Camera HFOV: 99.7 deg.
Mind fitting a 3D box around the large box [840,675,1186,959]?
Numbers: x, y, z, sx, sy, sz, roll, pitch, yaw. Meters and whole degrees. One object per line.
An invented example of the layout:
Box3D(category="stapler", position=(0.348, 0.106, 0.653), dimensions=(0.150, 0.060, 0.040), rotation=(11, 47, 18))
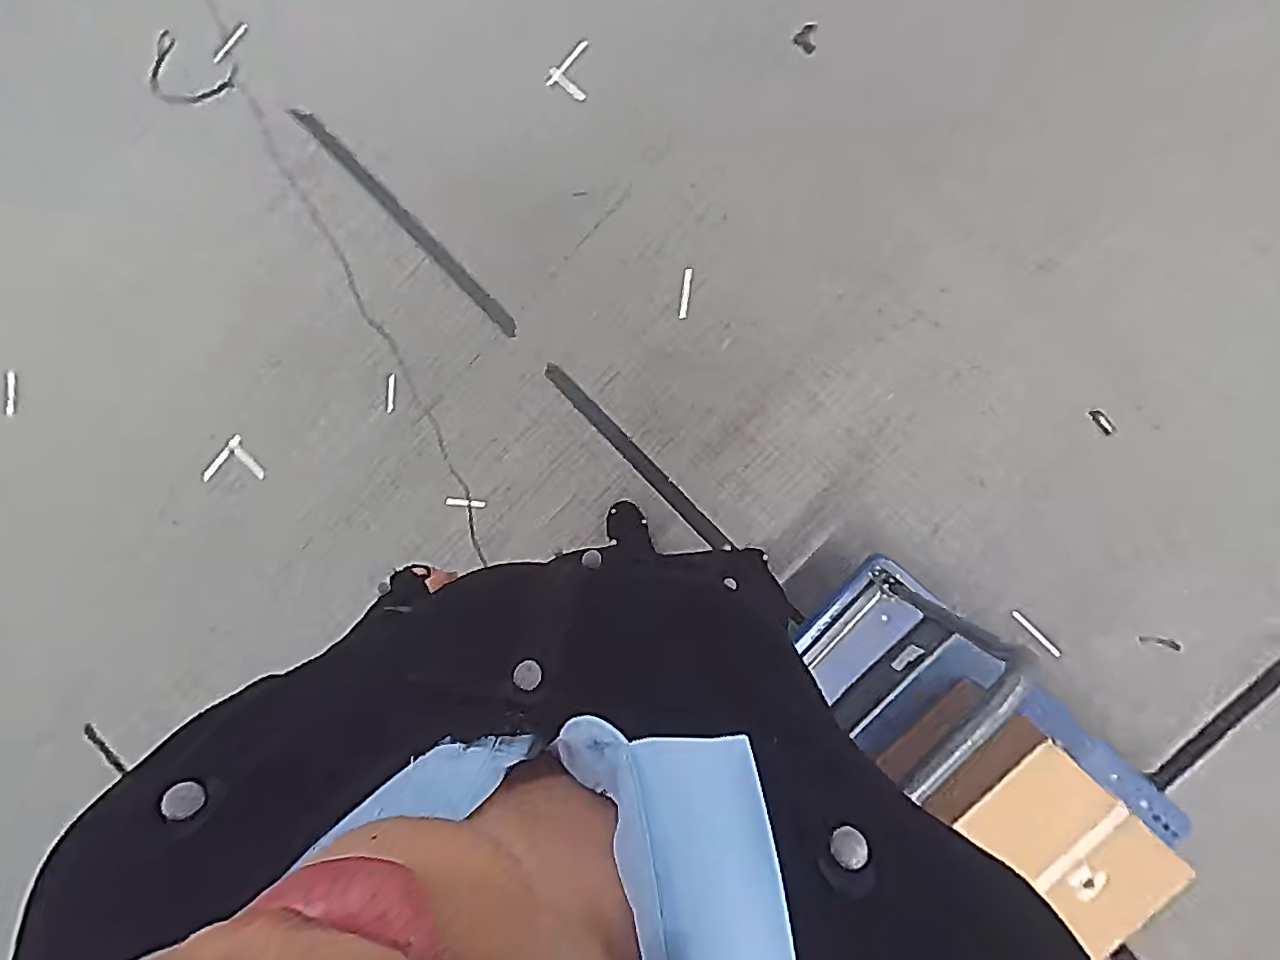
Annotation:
Box3D(category="large box", position=(0.676, 0.676, 1.064), dimensions=(0.320, 0.320, 0.408), rotation=(44, 94, 5))
